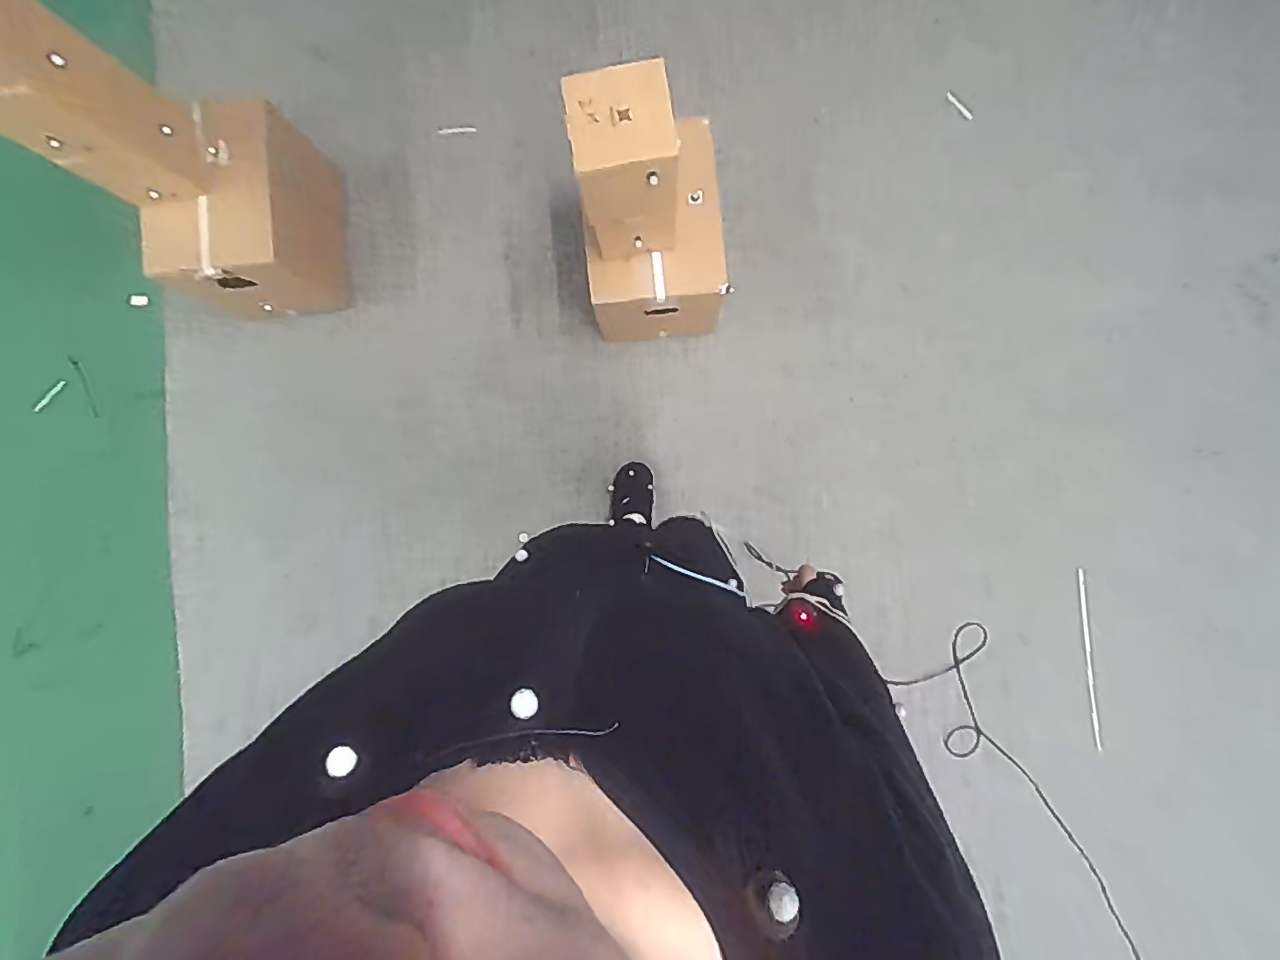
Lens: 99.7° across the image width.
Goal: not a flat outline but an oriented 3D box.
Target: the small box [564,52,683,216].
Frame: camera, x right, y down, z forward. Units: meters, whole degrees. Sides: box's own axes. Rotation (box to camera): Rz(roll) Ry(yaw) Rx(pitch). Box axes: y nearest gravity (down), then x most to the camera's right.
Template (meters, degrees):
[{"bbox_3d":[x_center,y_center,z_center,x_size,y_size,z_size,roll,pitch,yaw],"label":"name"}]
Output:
[{"bbox_3d":[-0.024,-0.597,0.954,0.179,0.176,0.168,-9,88,4],"label":"small box"}]

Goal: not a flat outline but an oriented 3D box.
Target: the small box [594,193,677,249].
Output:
[{"bbox_3d":[-0.013,-0.599,1.120,0.168,0.176,0.179,-8,90,3],"label":"small box"}]

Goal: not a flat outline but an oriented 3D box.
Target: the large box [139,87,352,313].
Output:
[{"bbox_3d":[-0.990,-0.691,1.394,0.320,0.320,0.408,-5,88,2],"label":"large box"}]

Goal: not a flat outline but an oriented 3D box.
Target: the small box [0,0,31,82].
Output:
[{"bbox_3d":[-1.105,-0.754,0.829,0.168,0.176,0.179,-3,90,6],"label":"small box"}]
